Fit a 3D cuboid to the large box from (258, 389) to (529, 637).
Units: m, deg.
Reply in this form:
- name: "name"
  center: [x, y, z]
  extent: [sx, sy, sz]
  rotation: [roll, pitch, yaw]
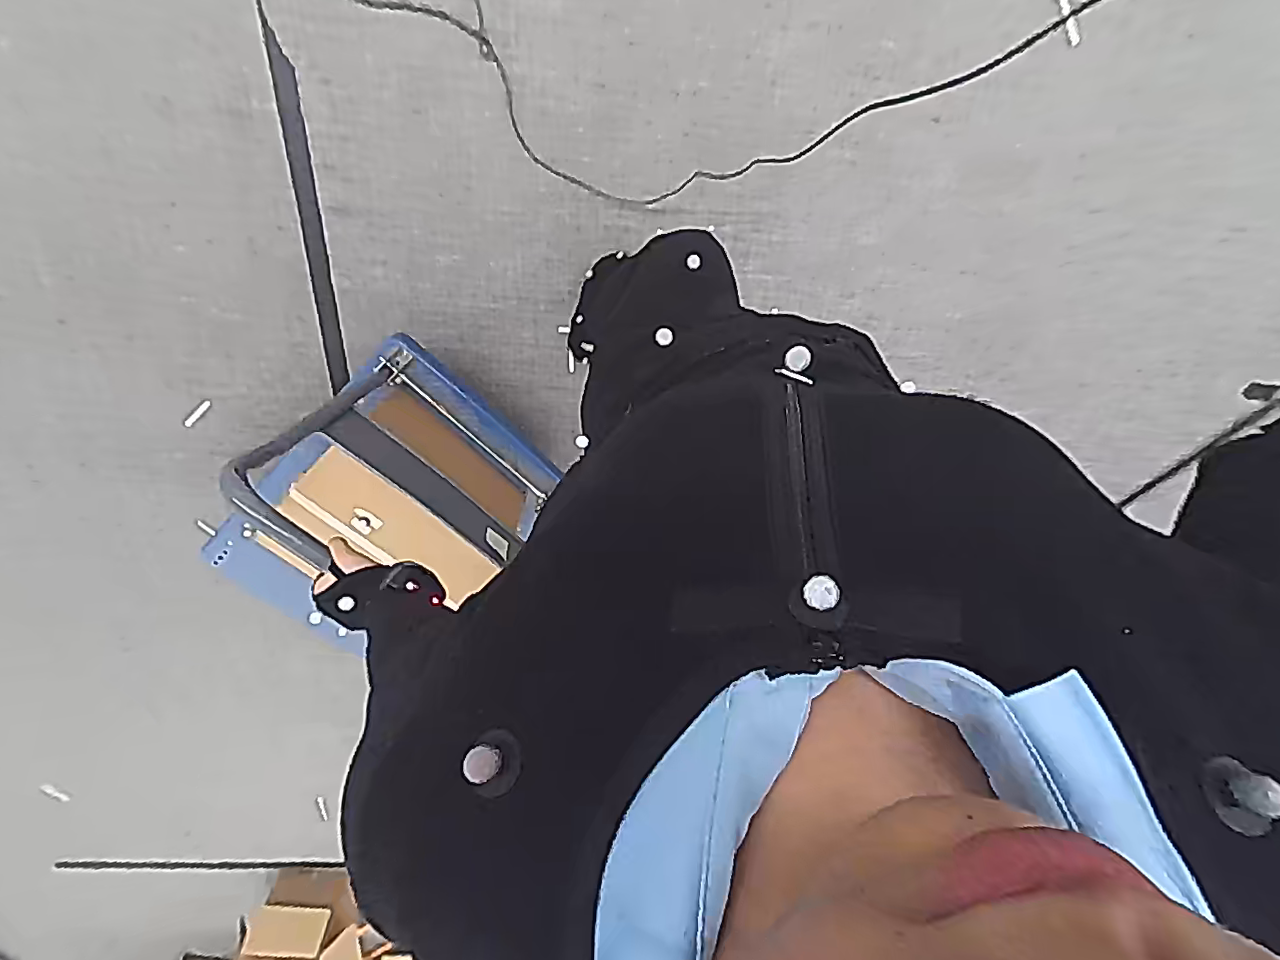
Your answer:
- name: "large box"
  center: [-0.523, 0.070, 1.235]
  extent: [0.320, 0.320, 0.408]
  rotation: [-40, 111, 16]
